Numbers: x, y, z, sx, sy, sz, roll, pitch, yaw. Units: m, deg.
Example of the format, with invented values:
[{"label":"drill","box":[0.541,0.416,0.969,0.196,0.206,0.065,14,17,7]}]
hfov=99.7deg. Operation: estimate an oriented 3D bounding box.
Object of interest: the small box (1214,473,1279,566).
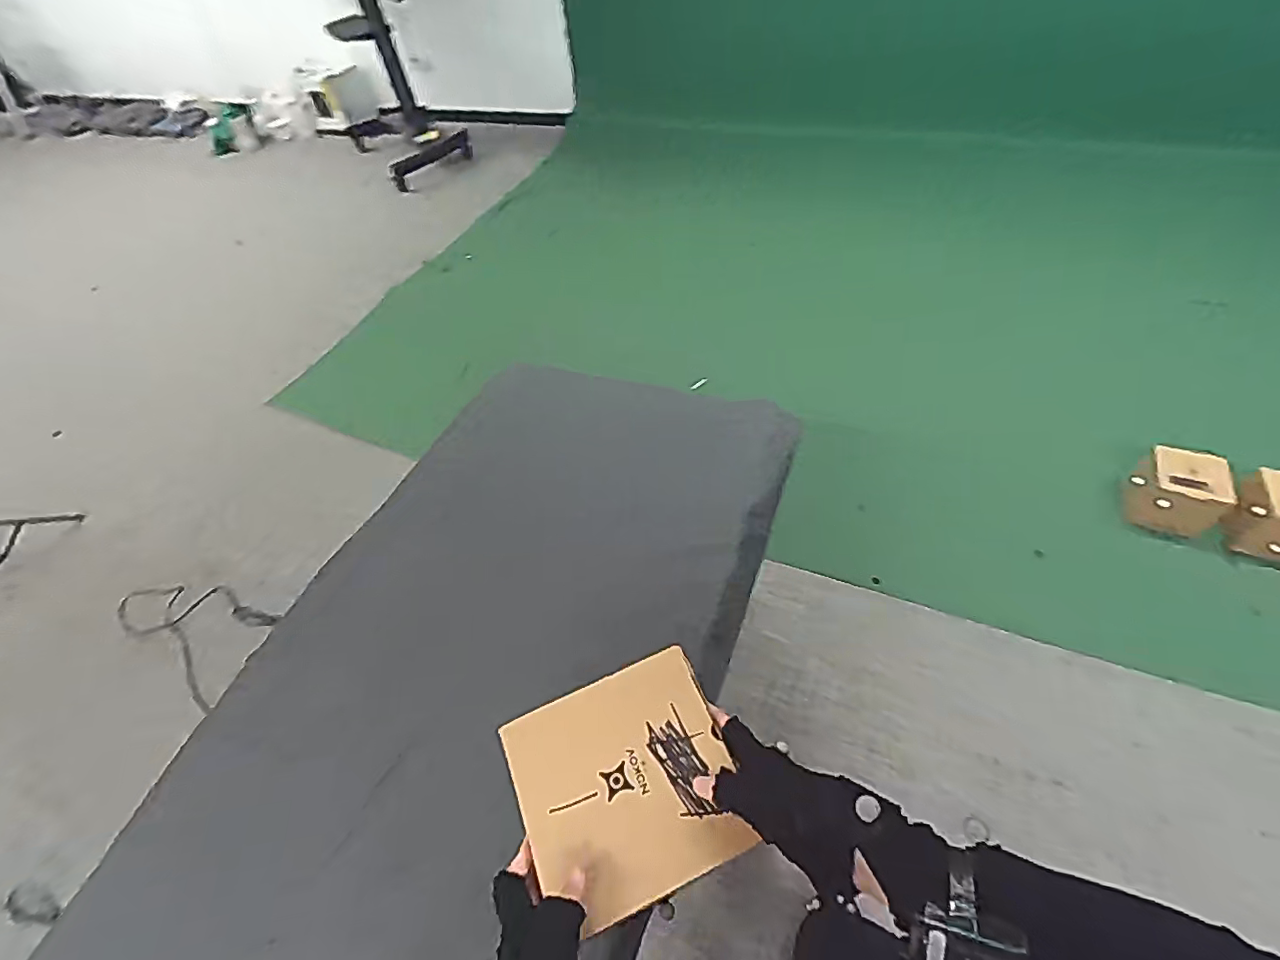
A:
[{"label":"small box","box":[1.757,0.113,1.497,0.168,0.176,0.179,15,56,17]}]

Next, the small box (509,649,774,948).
[{"label":"small box","box":[-0.002,0.289,0.504,0.179,0.176,0.168,-20,54,-11]}]
